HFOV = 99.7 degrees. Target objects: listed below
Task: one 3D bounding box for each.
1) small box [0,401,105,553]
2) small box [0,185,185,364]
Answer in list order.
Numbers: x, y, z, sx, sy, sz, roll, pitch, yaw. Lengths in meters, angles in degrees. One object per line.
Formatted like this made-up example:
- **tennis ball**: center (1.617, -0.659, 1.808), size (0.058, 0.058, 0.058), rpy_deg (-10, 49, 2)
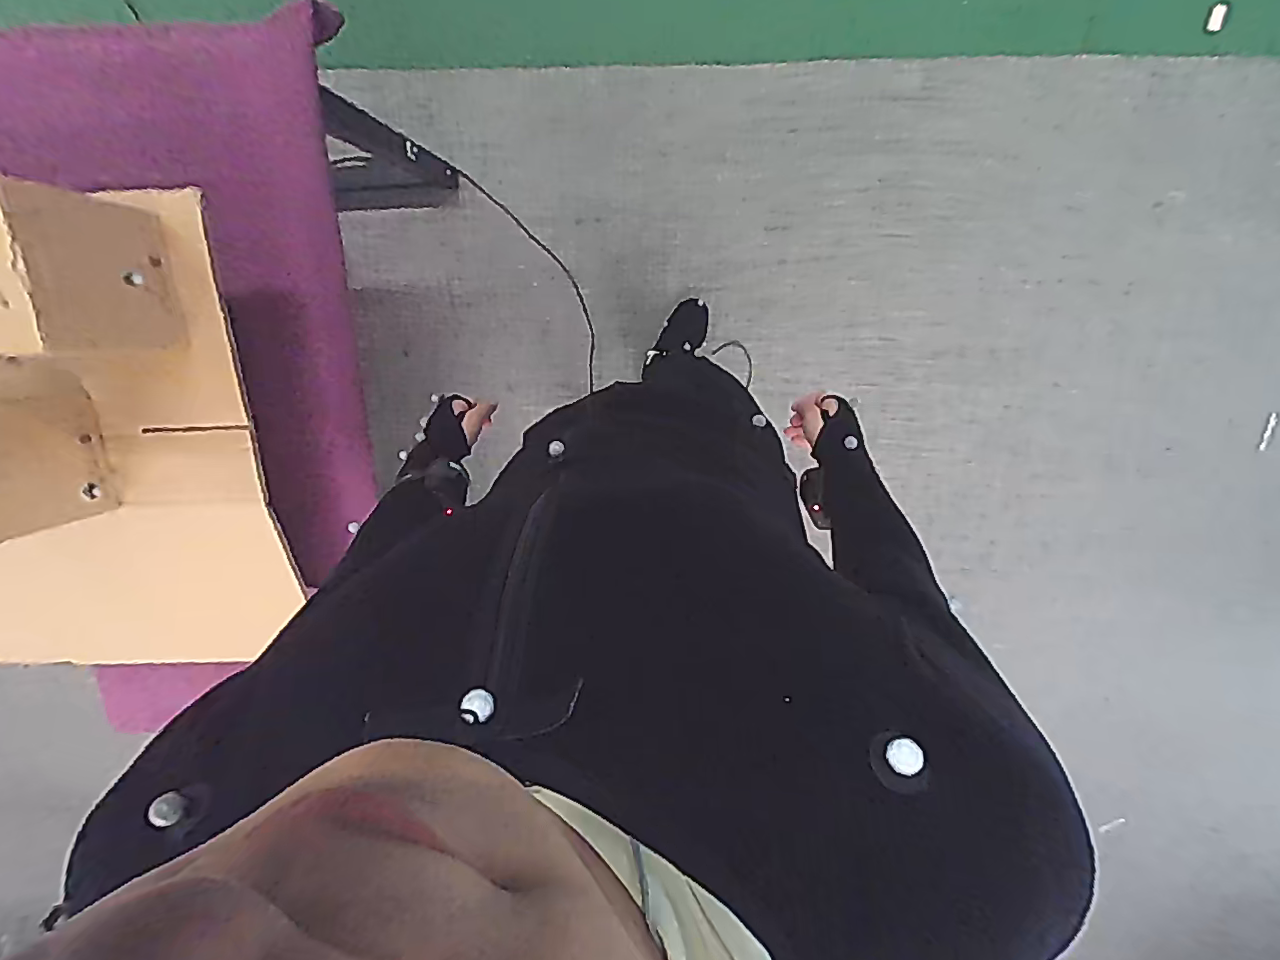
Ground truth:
- **small box**: center (-0.826, -0.006, 0.669), size (0.179, 0.176, 0.168), rpy_deg (-2, 103, 5)
- **small box**: center (-0.677, -0.216, 0.607), size (0.179, 0.176, 0.168), rpy_deg (-1, 105, 4)
